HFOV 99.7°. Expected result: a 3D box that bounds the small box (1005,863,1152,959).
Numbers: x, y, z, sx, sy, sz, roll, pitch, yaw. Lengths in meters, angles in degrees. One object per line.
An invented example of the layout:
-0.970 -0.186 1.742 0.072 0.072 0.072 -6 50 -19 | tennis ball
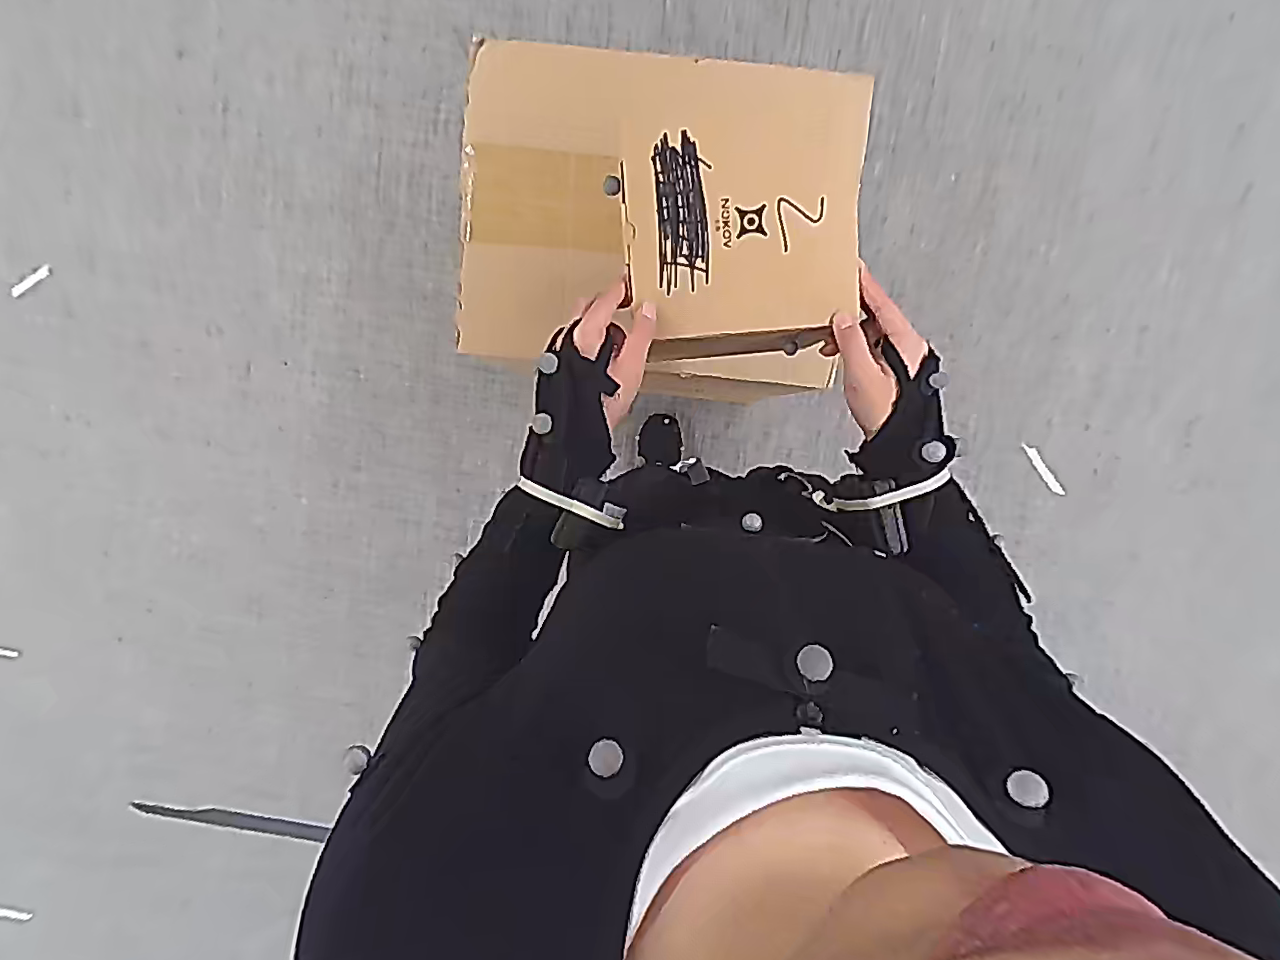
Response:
0.957 0.994 1.197 0.179 0.176 0.168 8 97 0 | small box
